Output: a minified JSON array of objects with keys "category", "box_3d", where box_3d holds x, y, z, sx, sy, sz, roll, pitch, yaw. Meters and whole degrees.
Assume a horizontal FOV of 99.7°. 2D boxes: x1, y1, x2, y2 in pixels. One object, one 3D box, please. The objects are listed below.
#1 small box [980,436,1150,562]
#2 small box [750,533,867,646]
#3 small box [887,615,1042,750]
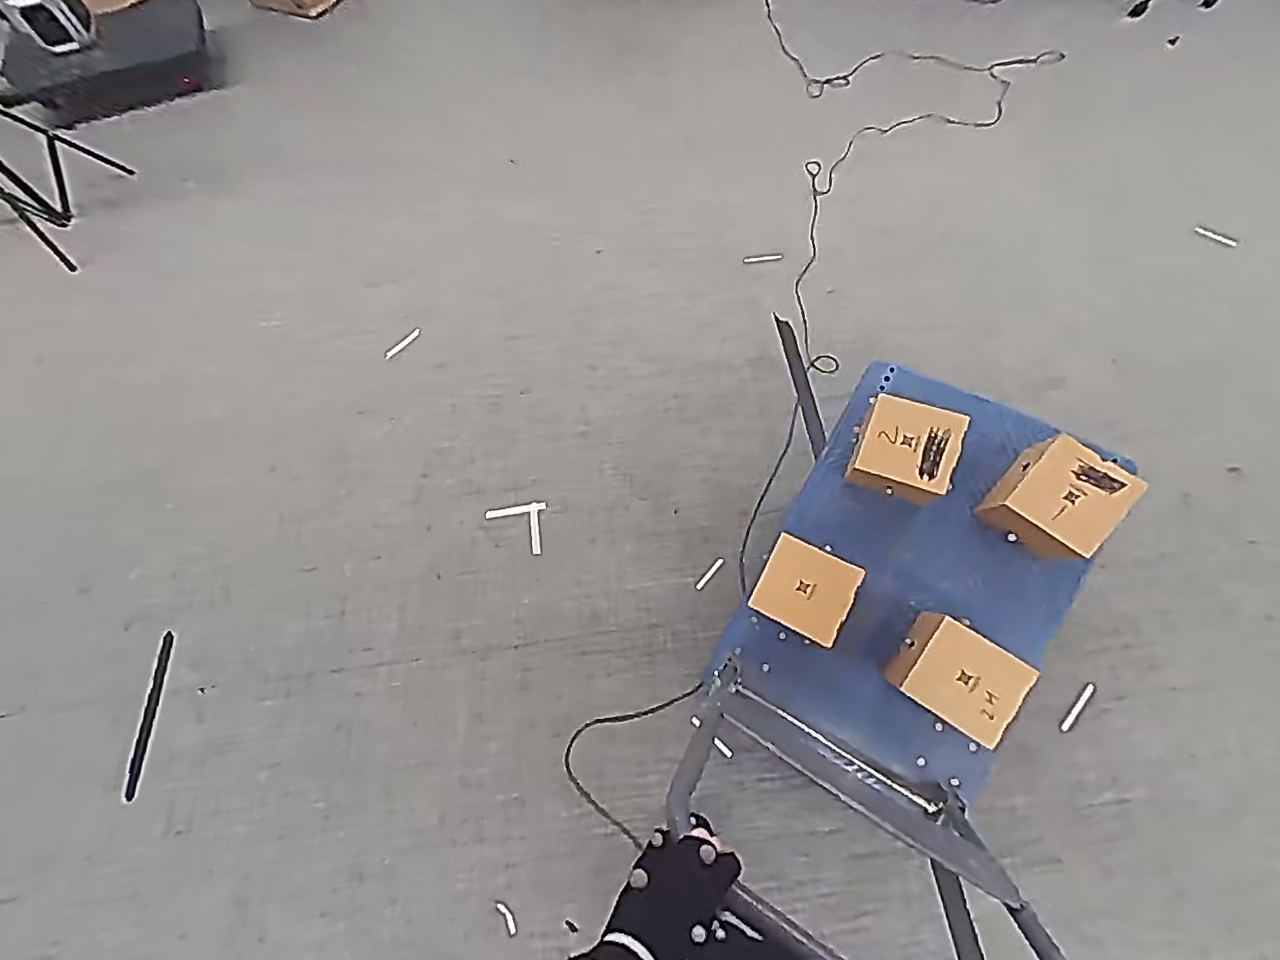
[{"category":"small box","box_3d":[0.815,0.044,1.062,0.168,0.176,0.179,40,91,17]},{"category":"small box","box_3d":[0.345,0.229,1.136,0.179,0.176,0.168,26,86,15]},{"category":"small box","box_3d":[0.610,0.378,1.045,0.179,0.176,0.168,33,89,17]}]
